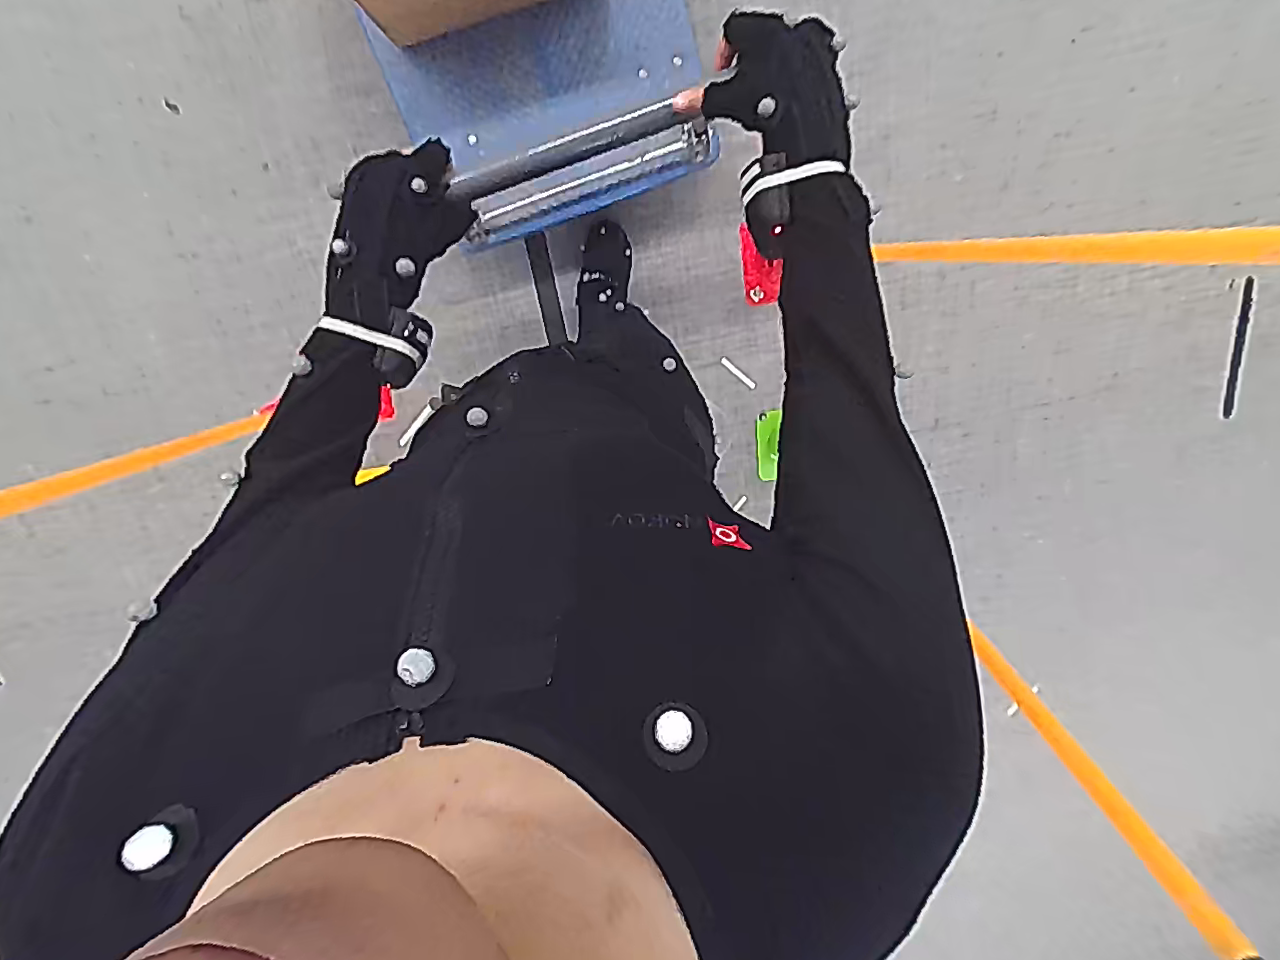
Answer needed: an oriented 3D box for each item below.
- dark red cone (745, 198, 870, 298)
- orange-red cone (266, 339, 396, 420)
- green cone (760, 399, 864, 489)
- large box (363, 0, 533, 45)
[{"bbox_3d":[0.375,-0.497,1.146,0.201,0.394,0.202,-12,111,-1],"label":"dark red cone"},{"bbox_3d":[-0.717,-0.195,1.206,0.198,0.360,0.199,-5,110,-3],"label":"orange-red cone"},{"bbox_3d":[0.446,-0.056,1.336,0.202,0.368,0.200,-9,111,-2],"label":"green cone"},{"bbox_3d":[-0.279,-0.937,0.800,0.408,0.320,0.320,-17,112,3],"label":"large box"}]
